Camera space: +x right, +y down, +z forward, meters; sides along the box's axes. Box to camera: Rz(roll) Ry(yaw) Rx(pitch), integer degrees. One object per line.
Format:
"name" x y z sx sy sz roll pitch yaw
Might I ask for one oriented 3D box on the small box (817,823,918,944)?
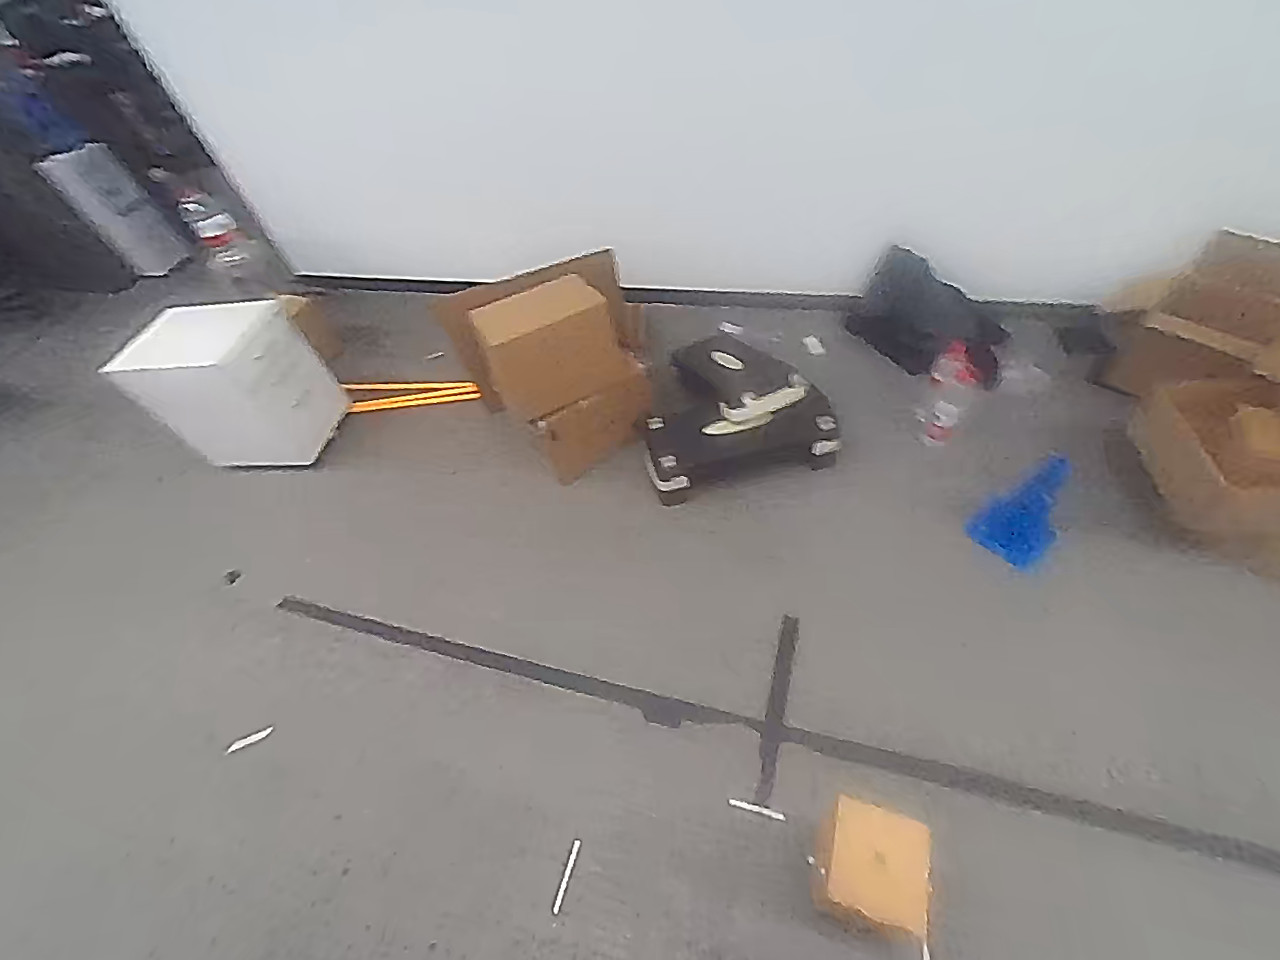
"small box" 0.489 0.870 1.173 0.179 0.176 0.168 6 53 17

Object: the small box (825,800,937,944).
"small box" 0.464 0.759 1.056 0.168 0.176 0.179 11 56 19
